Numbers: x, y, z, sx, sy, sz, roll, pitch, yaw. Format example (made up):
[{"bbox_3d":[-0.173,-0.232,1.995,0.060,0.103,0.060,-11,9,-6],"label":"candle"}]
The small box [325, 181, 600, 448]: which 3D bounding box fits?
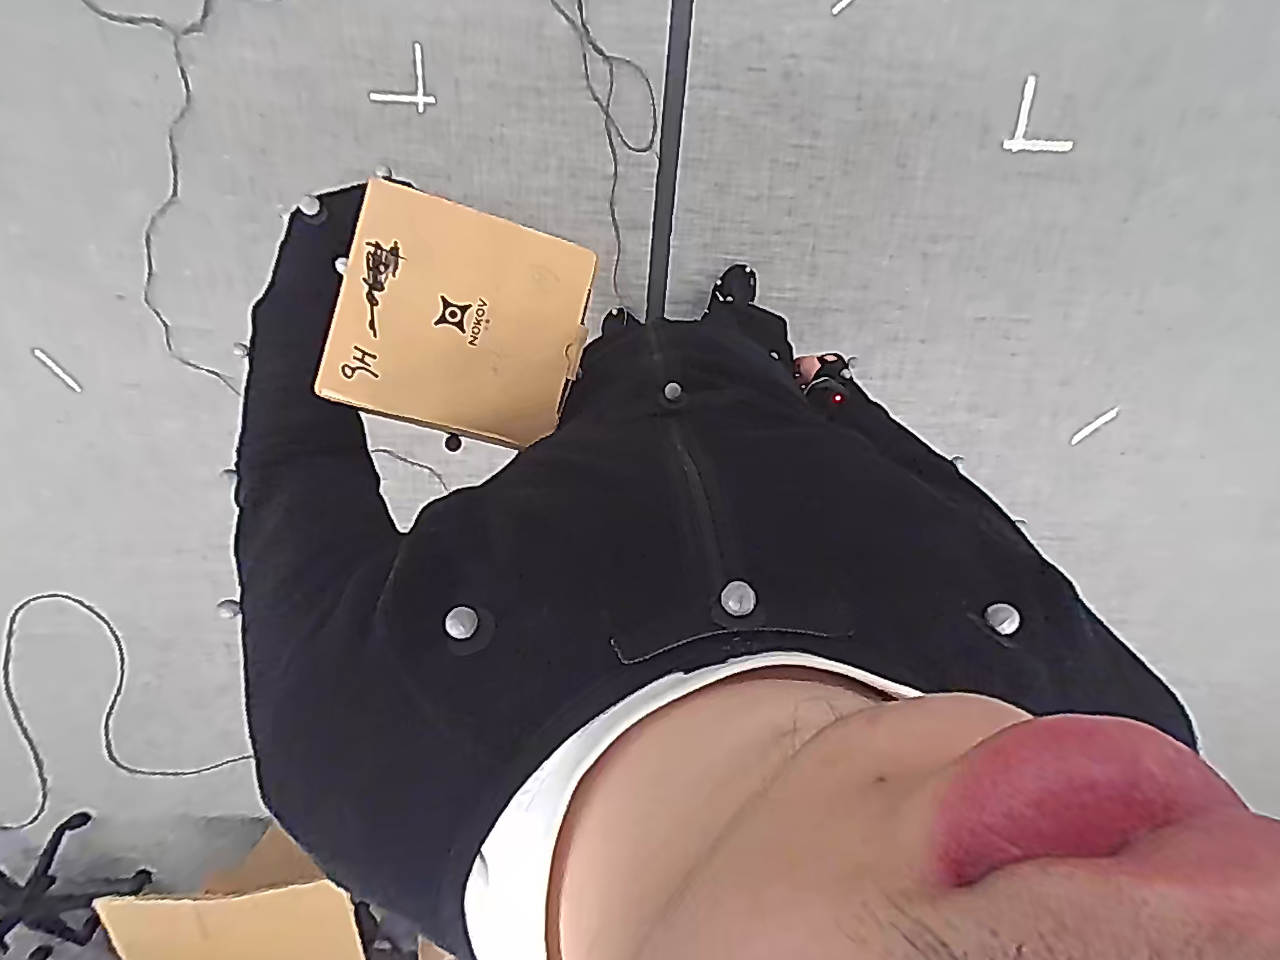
[{"bbox_3d":[-0.150,-0.127,0.494,0.179,0.176,0.168,13,88,-13],"label":"small box"}]
